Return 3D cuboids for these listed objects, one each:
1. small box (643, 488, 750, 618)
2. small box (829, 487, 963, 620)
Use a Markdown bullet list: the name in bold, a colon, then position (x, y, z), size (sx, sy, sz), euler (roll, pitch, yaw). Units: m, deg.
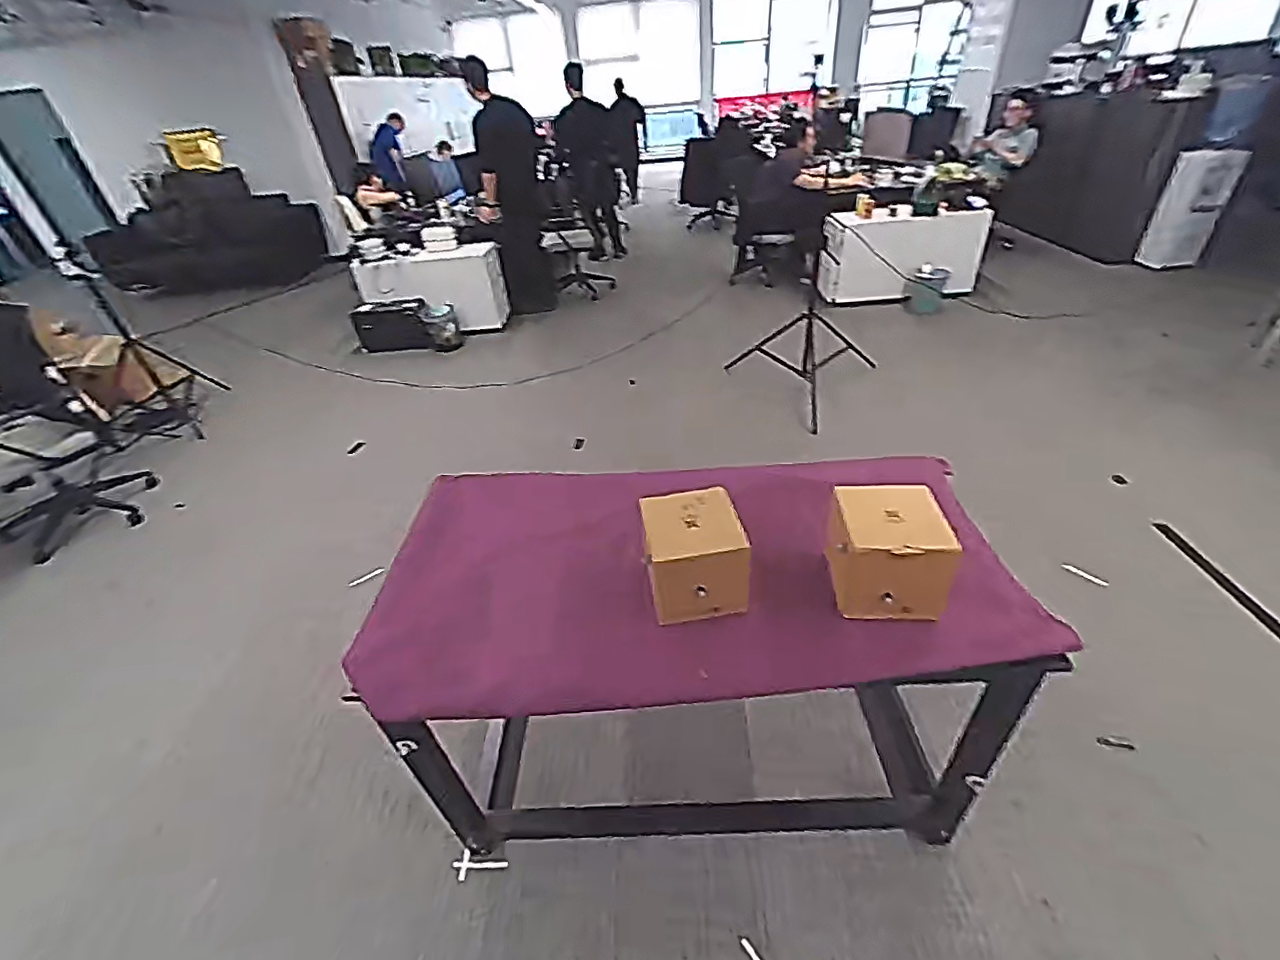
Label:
- **small box**: position (0.103, 0.141, 1.013), size (0.168, 0.176, 0.179), euler (-8, 36, -3)
- **small box**: position (0.447, 0.129, 0.978), size (0.168, 0.176, 0.179), euler (-1, 35, 8)
